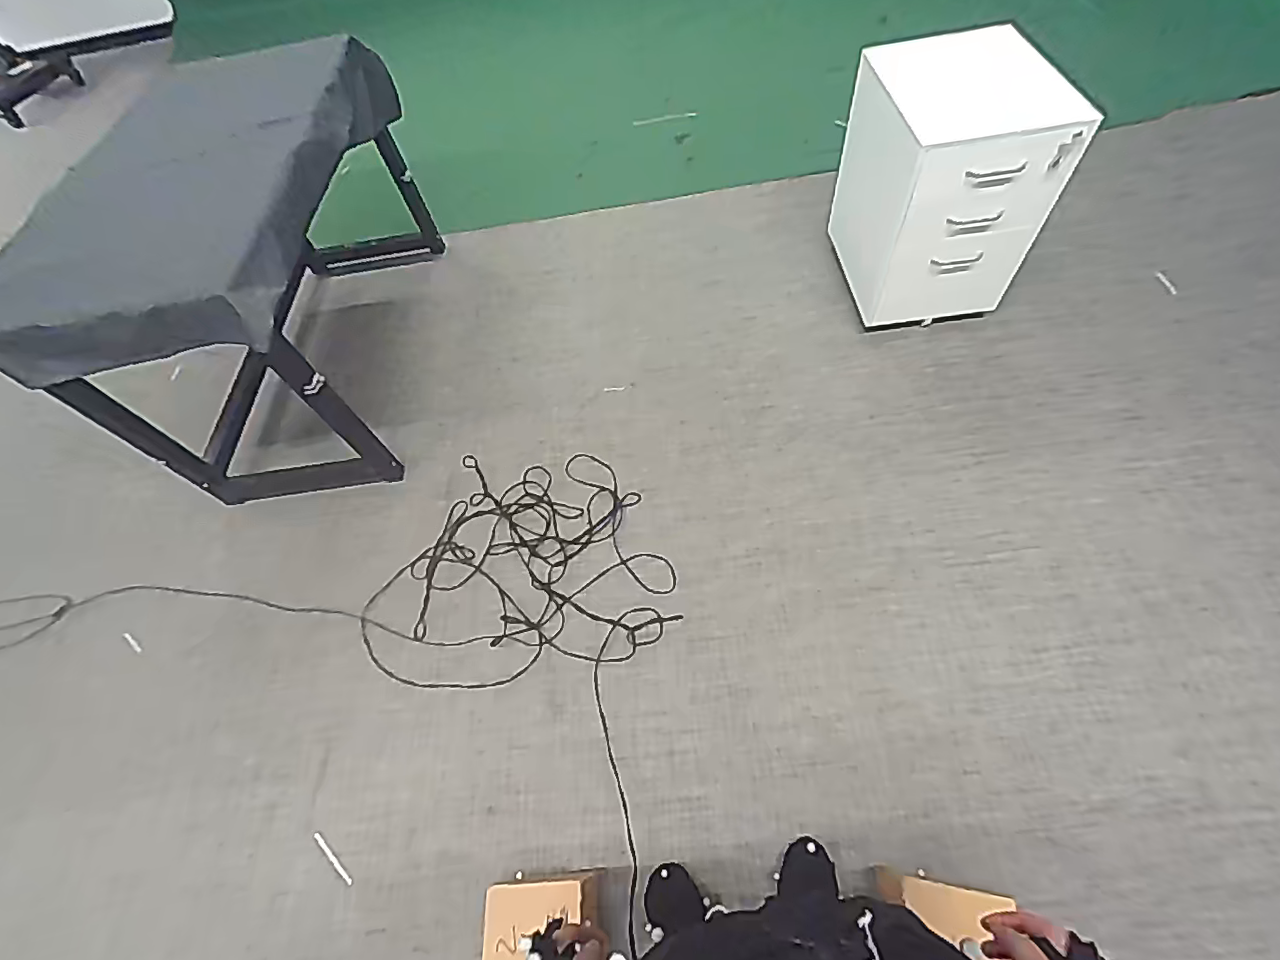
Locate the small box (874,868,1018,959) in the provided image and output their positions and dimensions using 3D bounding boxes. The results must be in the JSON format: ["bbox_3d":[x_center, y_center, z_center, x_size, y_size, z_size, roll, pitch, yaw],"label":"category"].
[{"bbox_3d":[0.517,0.787,0.929,0.179,0.176,0.168,5,61,11],"label":"small box"}]
